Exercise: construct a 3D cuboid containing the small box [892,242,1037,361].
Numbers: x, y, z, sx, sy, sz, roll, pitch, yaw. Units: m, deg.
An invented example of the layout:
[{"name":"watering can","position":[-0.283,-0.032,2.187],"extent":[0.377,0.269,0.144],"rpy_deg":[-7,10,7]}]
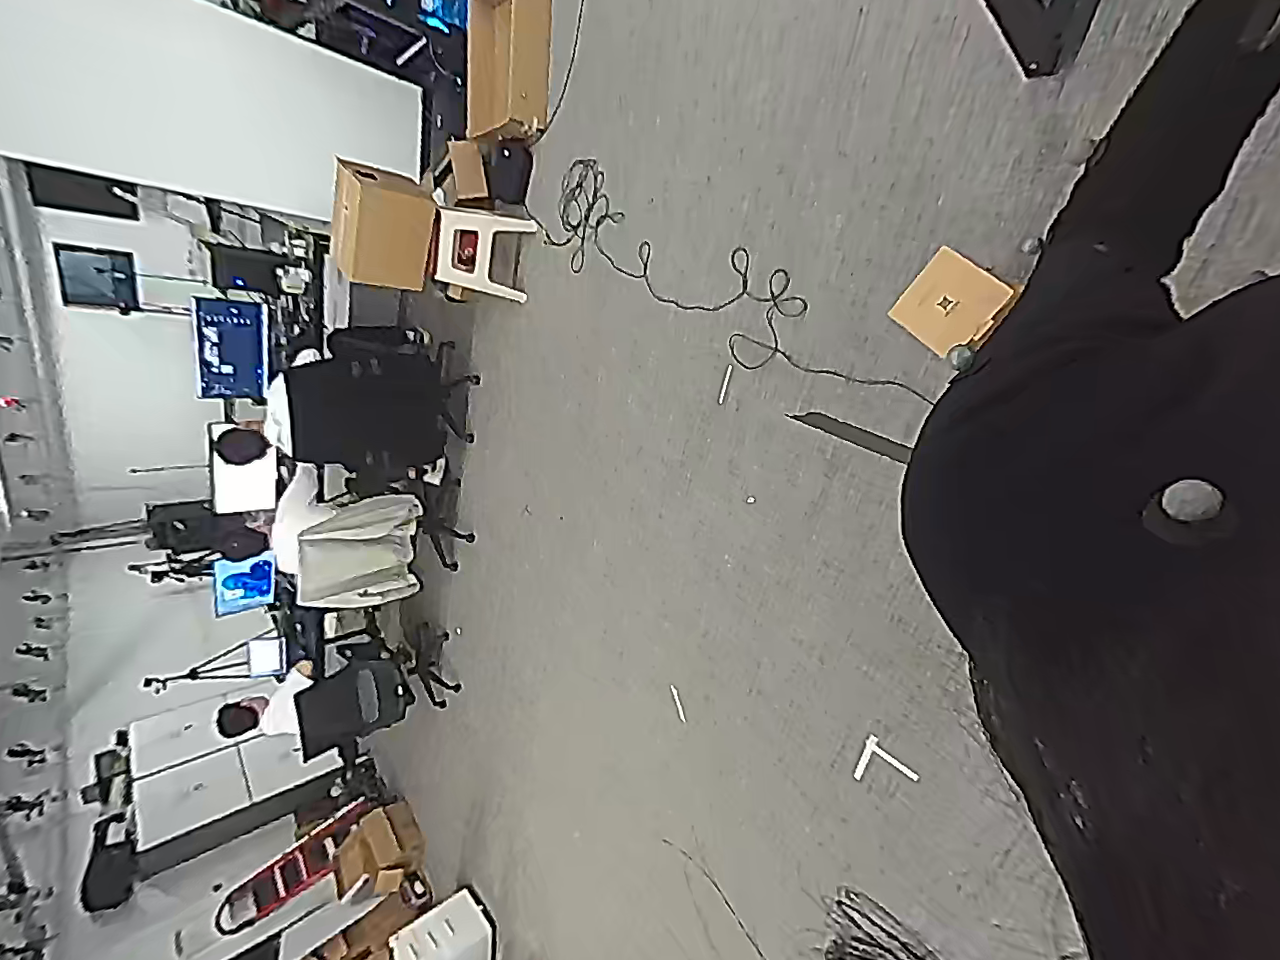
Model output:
[{"name":"small box","position":[0.676,-0.363,1.123],"extent":[0.179,0.176,0.168],"rpy_deg":[53,129,28]}]
